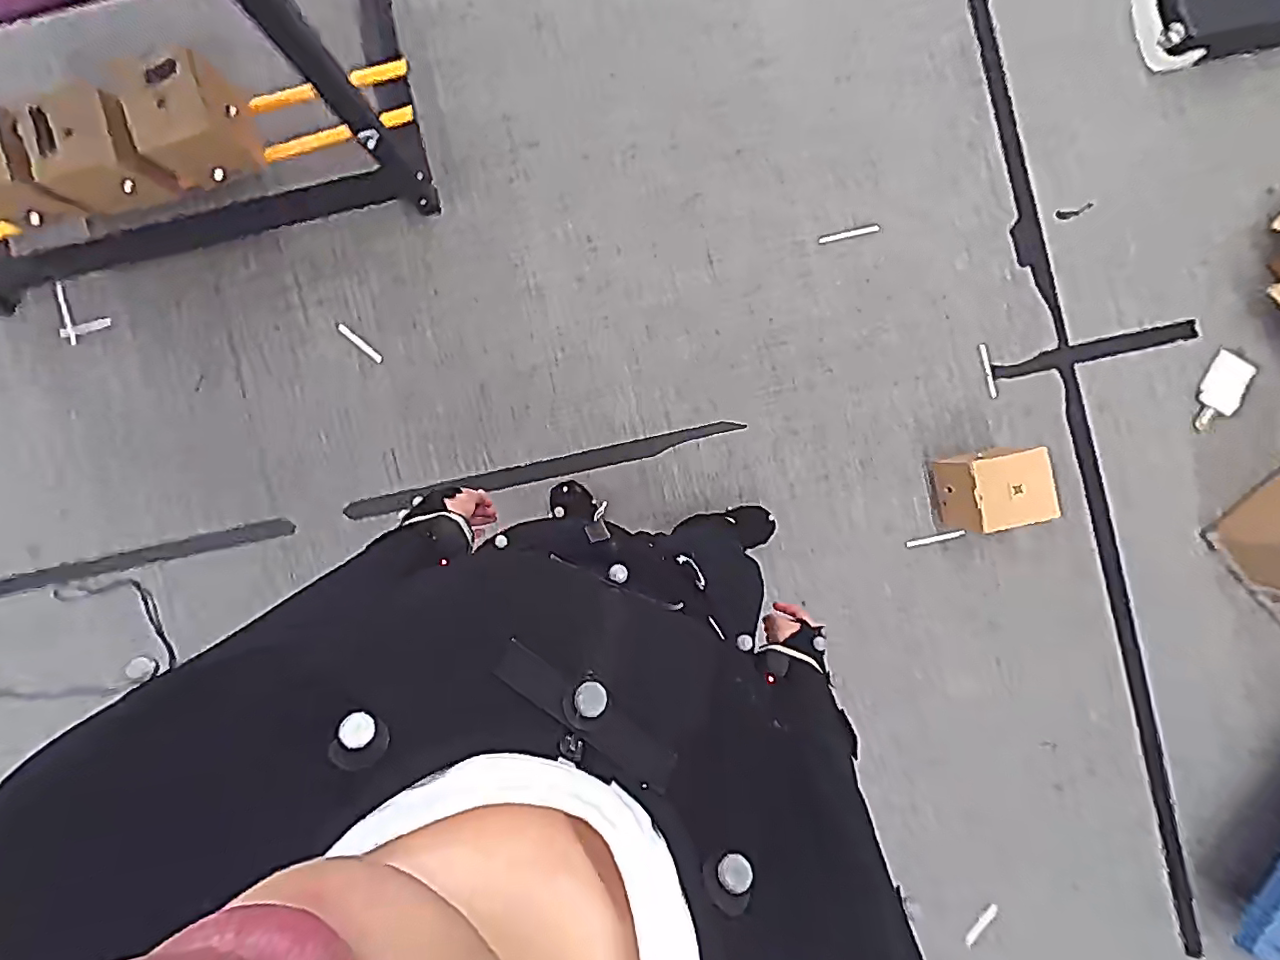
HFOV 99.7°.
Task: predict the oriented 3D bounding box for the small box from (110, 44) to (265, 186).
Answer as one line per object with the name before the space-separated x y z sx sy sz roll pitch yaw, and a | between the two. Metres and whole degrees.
small box | -0.961 -0.775 1.165 0.168 0.176 0.179 -15 94 2

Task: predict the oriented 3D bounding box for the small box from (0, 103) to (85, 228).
small box | -1.376 -0.677 1.167 0.168 0.176 0.179 -13 94 0

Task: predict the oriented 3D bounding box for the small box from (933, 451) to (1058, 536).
small box | 0.840 0.026 1.293 0.179 0.176 0.168 -13 92 1
